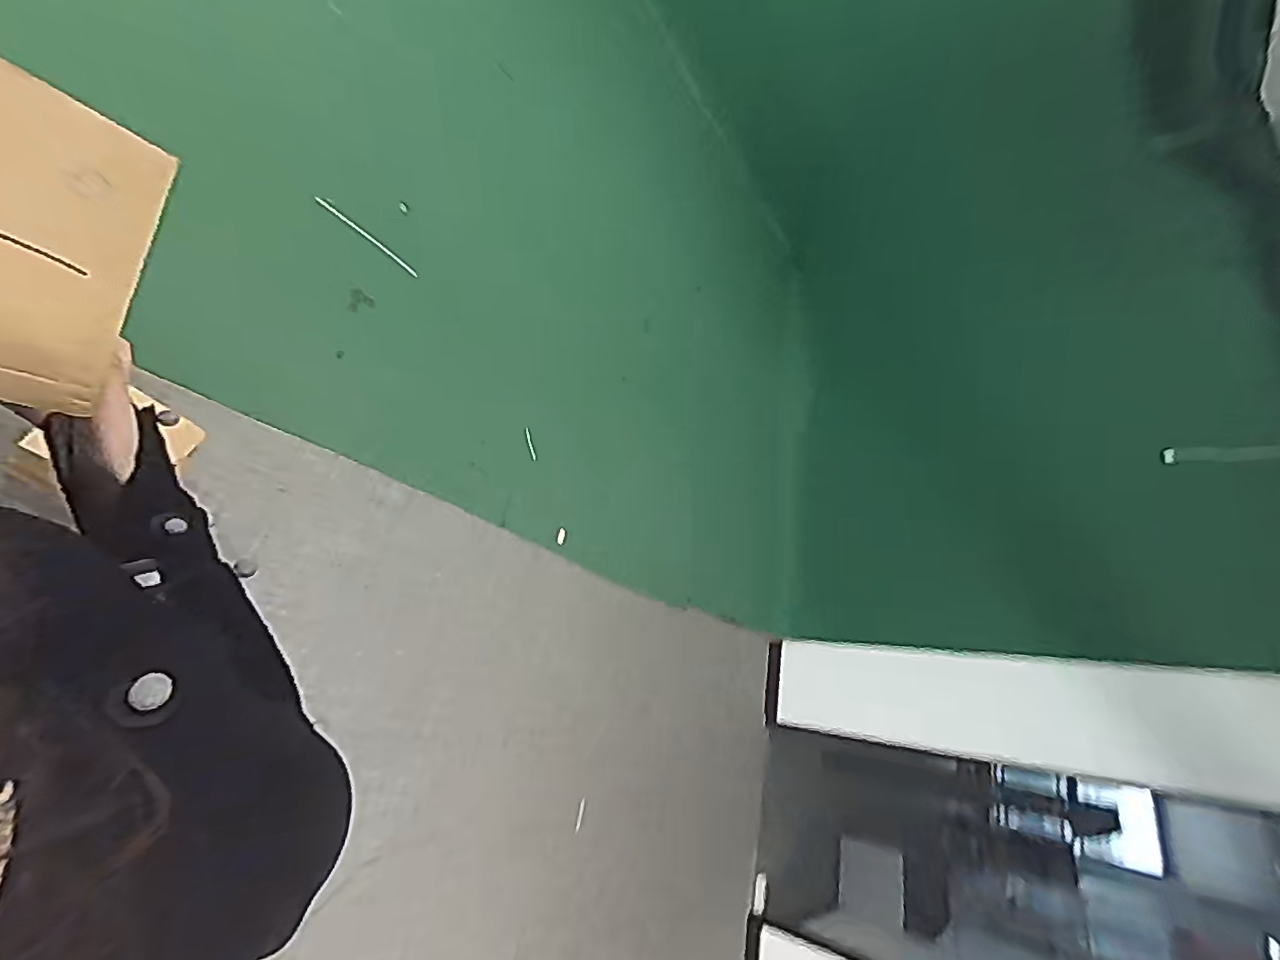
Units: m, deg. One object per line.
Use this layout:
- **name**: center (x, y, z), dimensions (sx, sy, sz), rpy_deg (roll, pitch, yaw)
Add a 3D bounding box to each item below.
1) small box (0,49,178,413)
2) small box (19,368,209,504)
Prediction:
- **small box**: center (-0.399, -0.146, 0.279), dimensions (0.179, 0.176, 0.168), rpy_deg (19, 87, -59)
- **small box**: center (-0.927, -0.068, 0.954), dimensions (0.179, 0.176, 0.168), rpy_deg (47, 51, -37)
